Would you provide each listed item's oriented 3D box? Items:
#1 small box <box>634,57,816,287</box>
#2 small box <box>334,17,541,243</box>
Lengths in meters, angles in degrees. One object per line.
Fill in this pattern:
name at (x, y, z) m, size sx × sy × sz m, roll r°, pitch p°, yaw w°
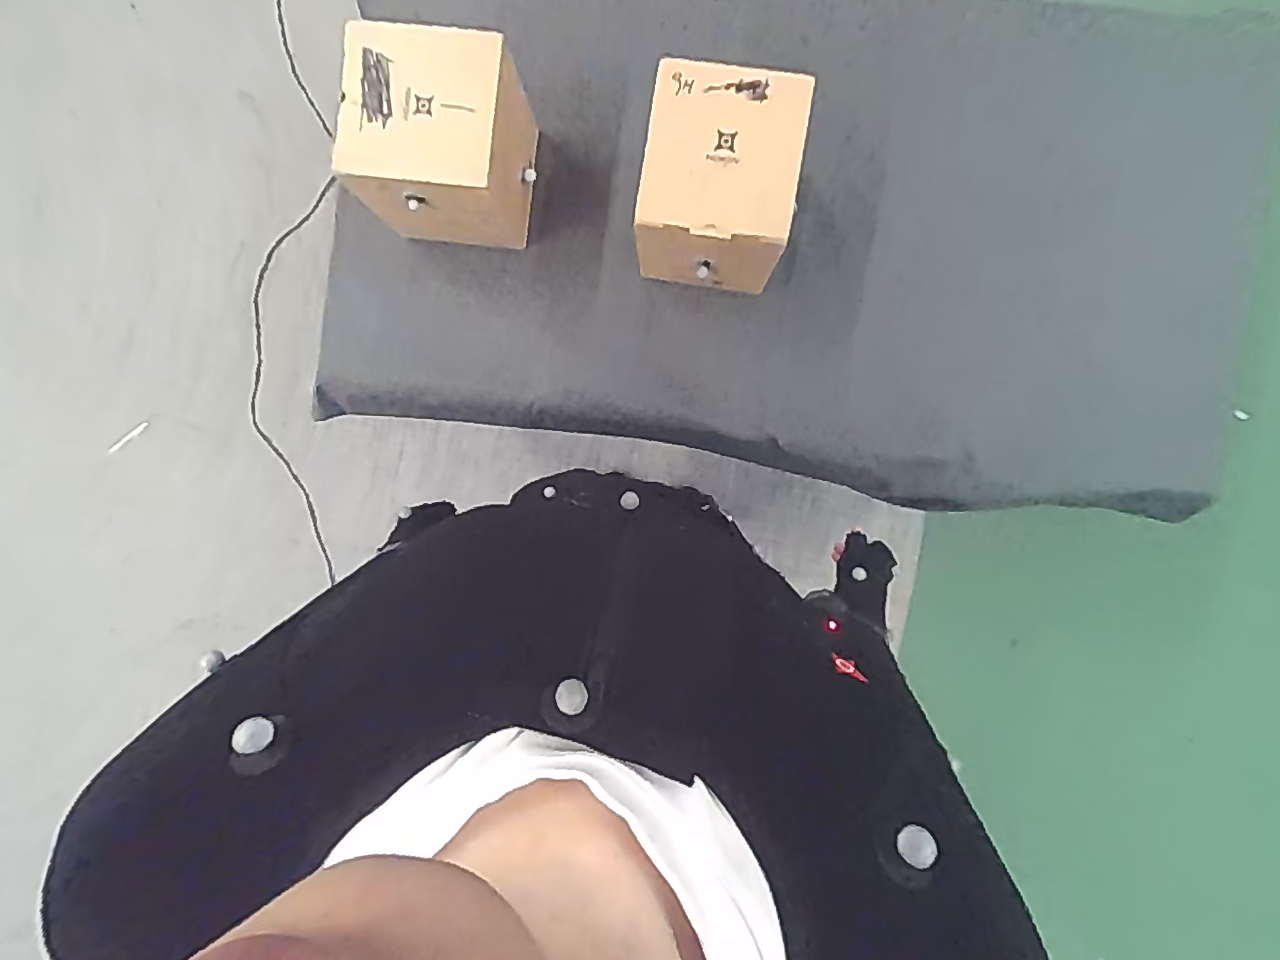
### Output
small box at (0.093, -0.347, 0.645) m, size 0.168 × 0.176 × 0.179 m, roll 10°, pitch 92°, yaw 3°
small box at (-0.233, -0.408, 0.659) m, size 0.179 × 0.176 × 0.168 m, roll 7°, pitch 92°, yaw 2°
